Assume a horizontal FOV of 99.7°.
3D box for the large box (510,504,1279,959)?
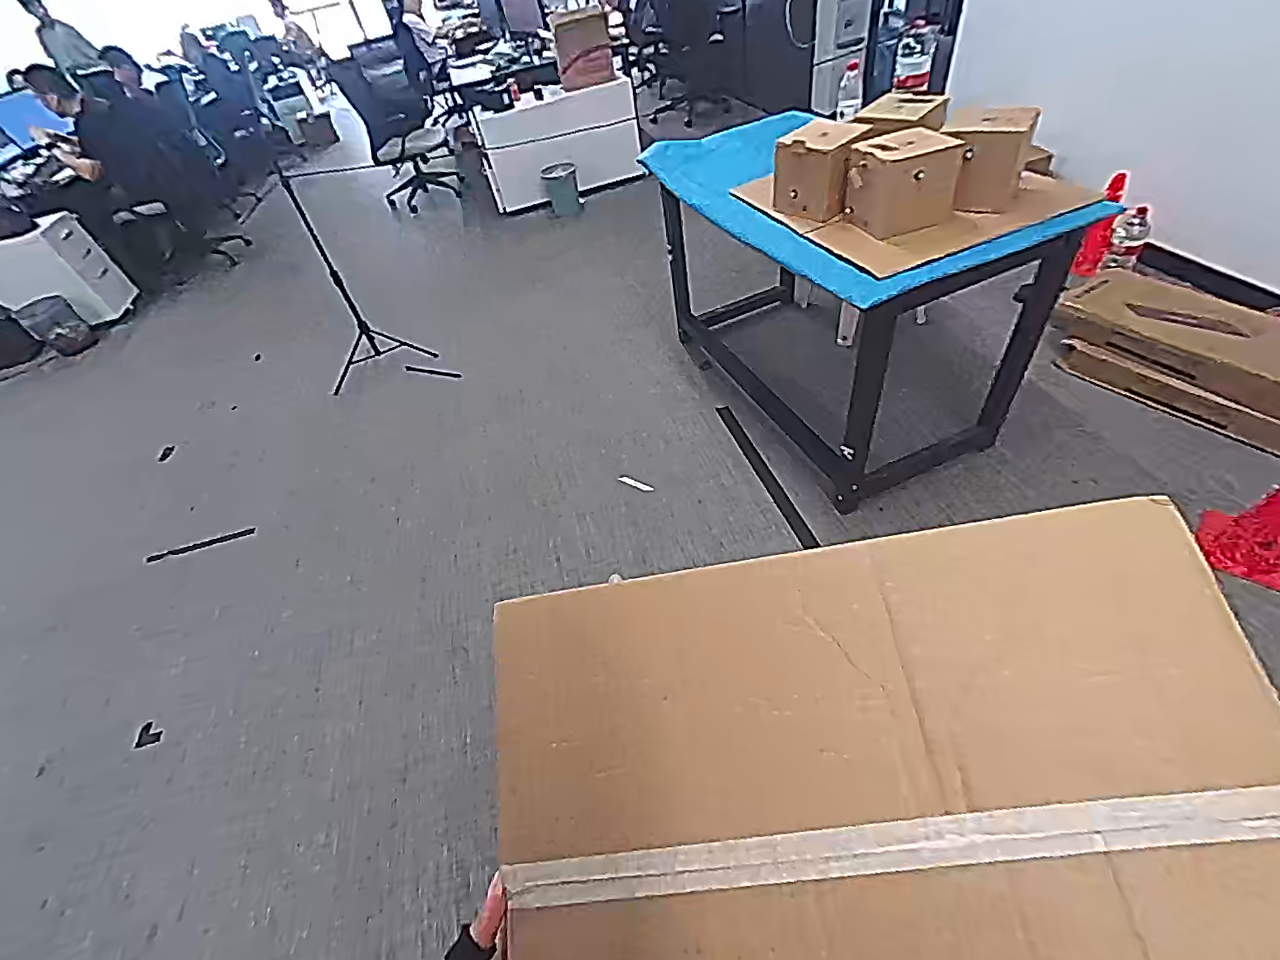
[{"bbox_3d":[0.151,0.244,0.423,0.408,0.320,0.320,-11,69,8],"label":"large box"}]
